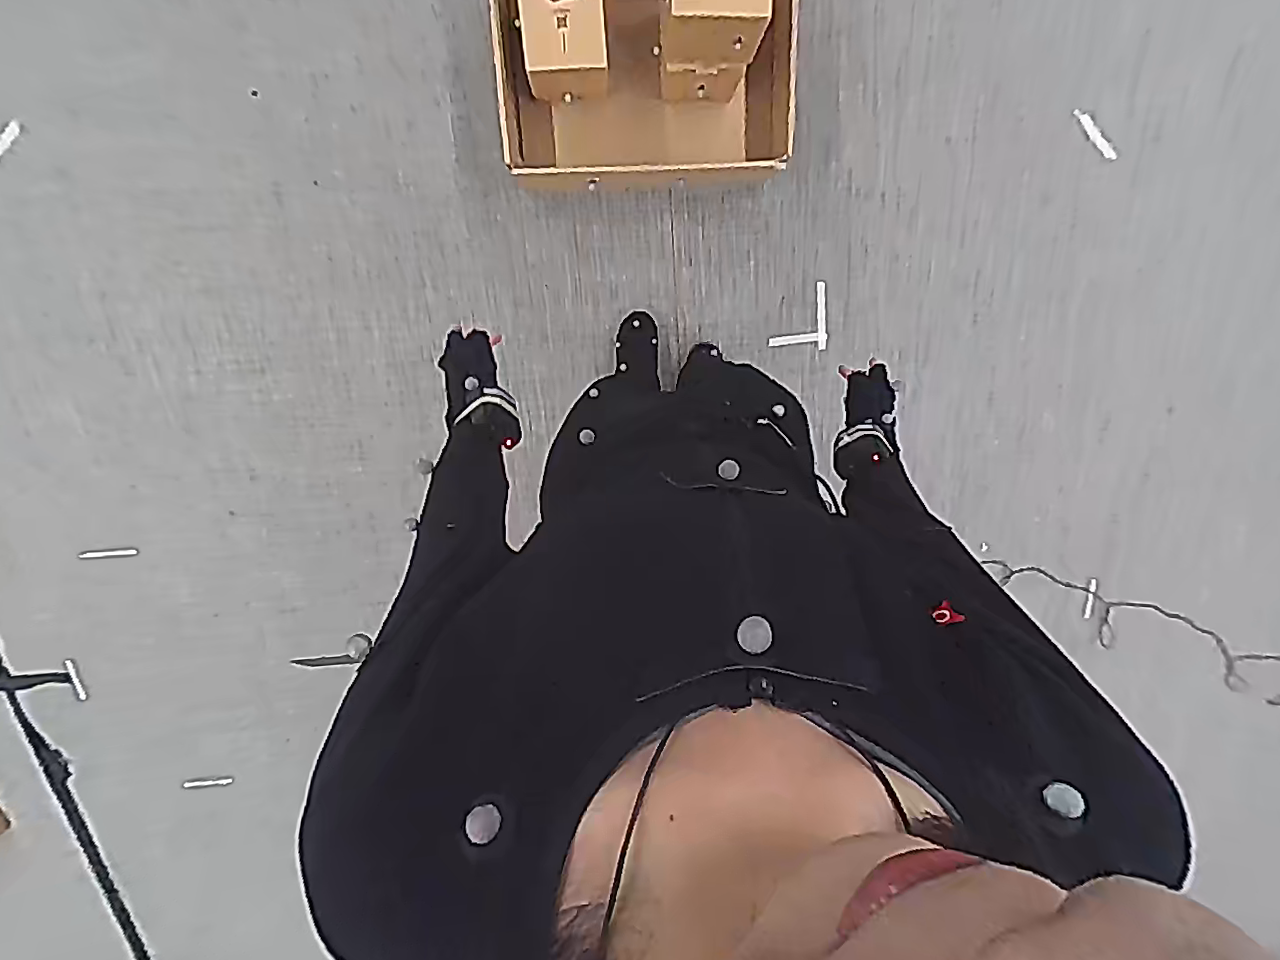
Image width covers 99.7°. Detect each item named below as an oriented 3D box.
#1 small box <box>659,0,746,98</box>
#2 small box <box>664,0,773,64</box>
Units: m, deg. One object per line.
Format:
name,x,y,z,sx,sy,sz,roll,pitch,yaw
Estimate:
small box,0.128,-0.930,1.140,0.168,0.176,0.179,-3,108,-2
small box,0.139,-0.890,0.982,0.179,0.176,0.168,-1,105,-1
